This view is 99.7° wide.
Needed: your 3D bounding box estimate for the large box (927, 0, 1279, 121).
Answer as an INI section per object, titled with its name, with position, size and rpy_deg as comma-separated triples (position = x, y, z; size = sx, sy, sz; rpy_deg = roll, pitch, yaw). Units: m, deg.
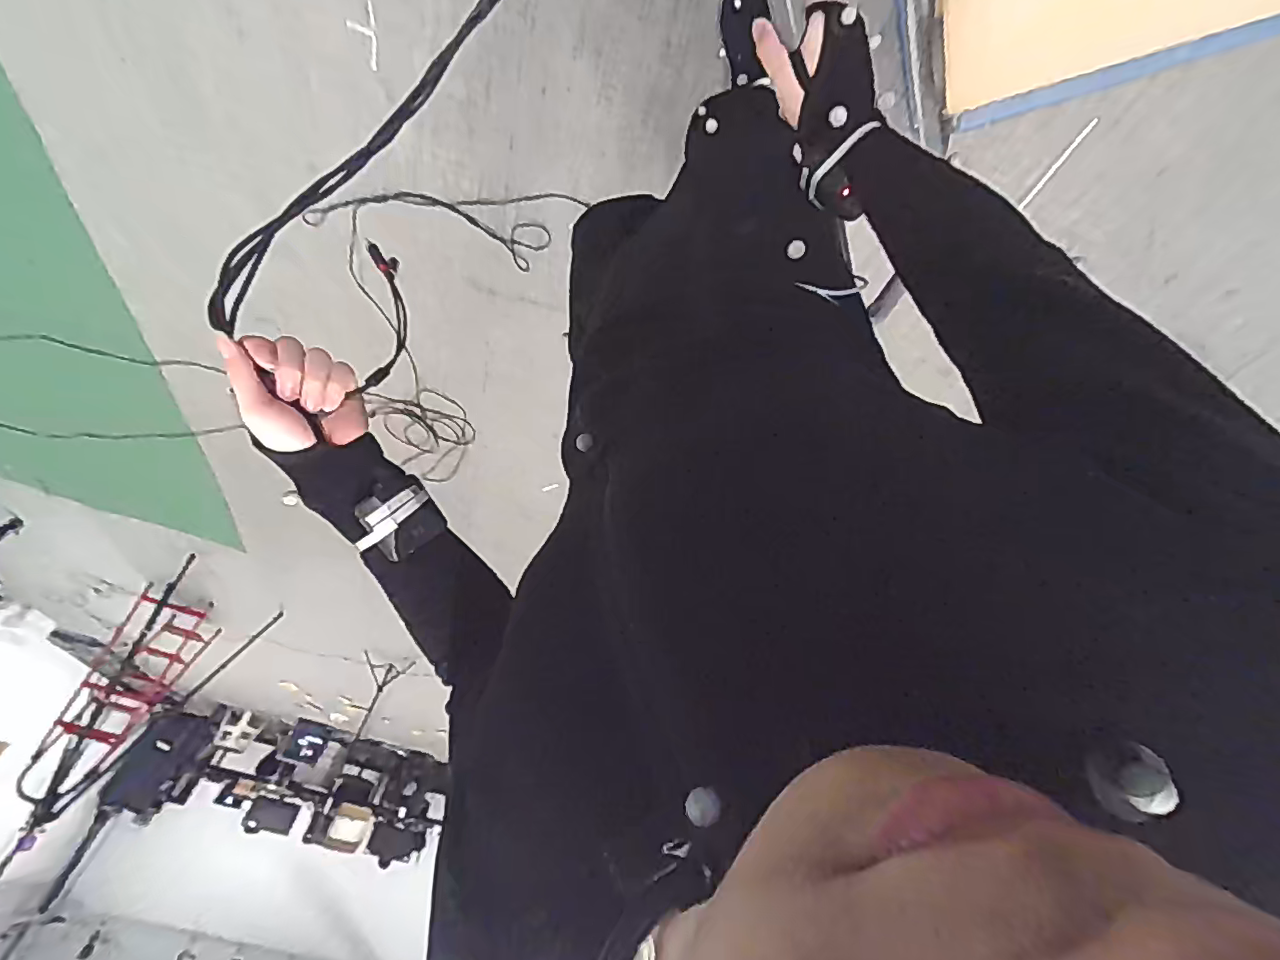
[large box]
position = 0.591, -0.743, 0.686
size = 0.408, 0.320, 0.320
rpy_deg = -1, 140, 30
